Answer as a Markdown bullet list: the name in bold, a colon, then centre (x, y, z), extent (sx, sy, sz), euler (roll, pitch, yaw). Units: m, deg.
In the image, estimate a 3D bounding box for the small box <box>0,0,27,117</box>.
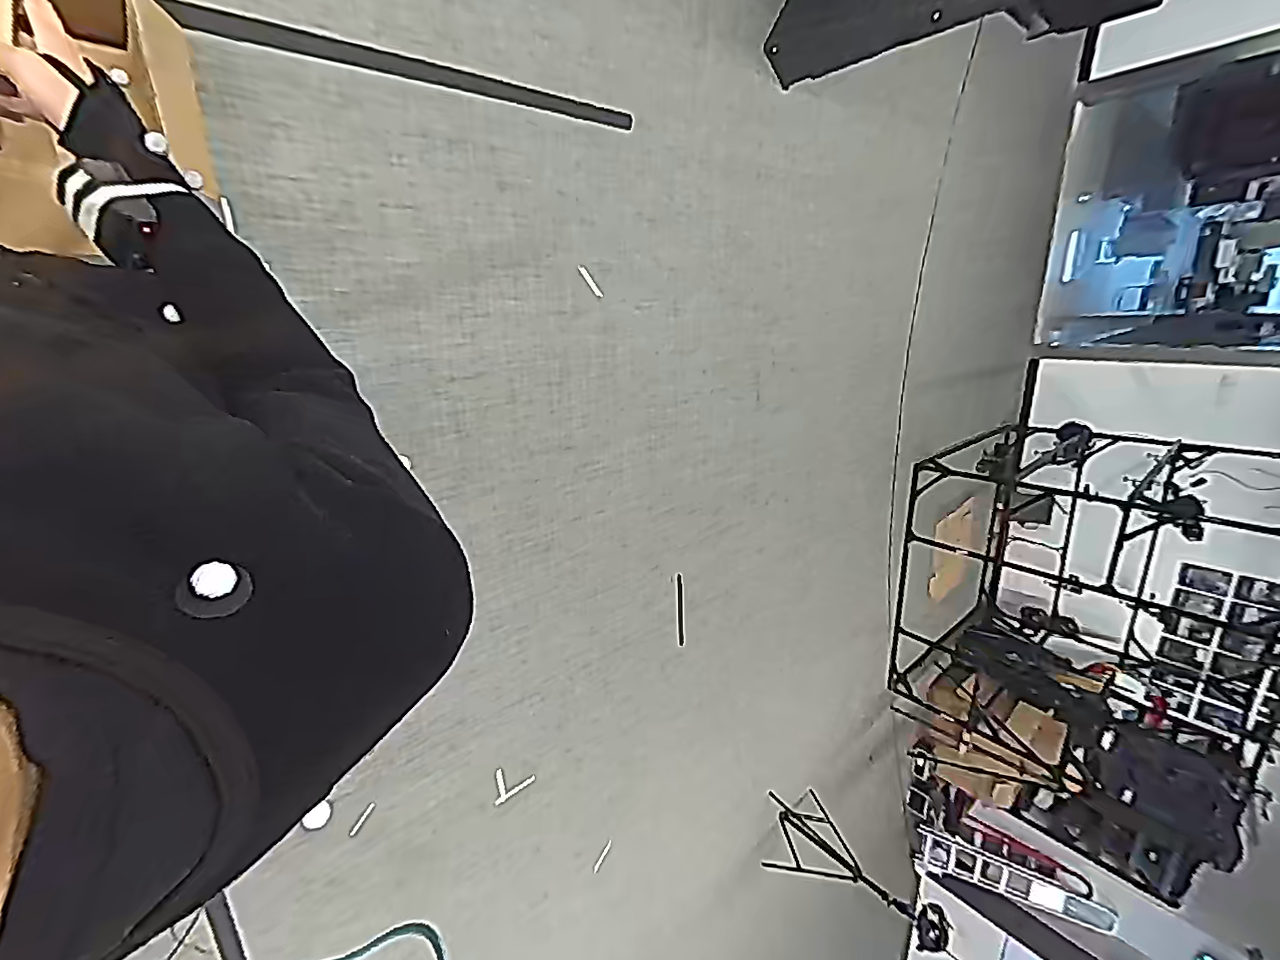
- **small box**: centre (-0.581, -0.408, 0.399), extent (0.168, 0.176, 0.179), euler (0, 102, -48)
